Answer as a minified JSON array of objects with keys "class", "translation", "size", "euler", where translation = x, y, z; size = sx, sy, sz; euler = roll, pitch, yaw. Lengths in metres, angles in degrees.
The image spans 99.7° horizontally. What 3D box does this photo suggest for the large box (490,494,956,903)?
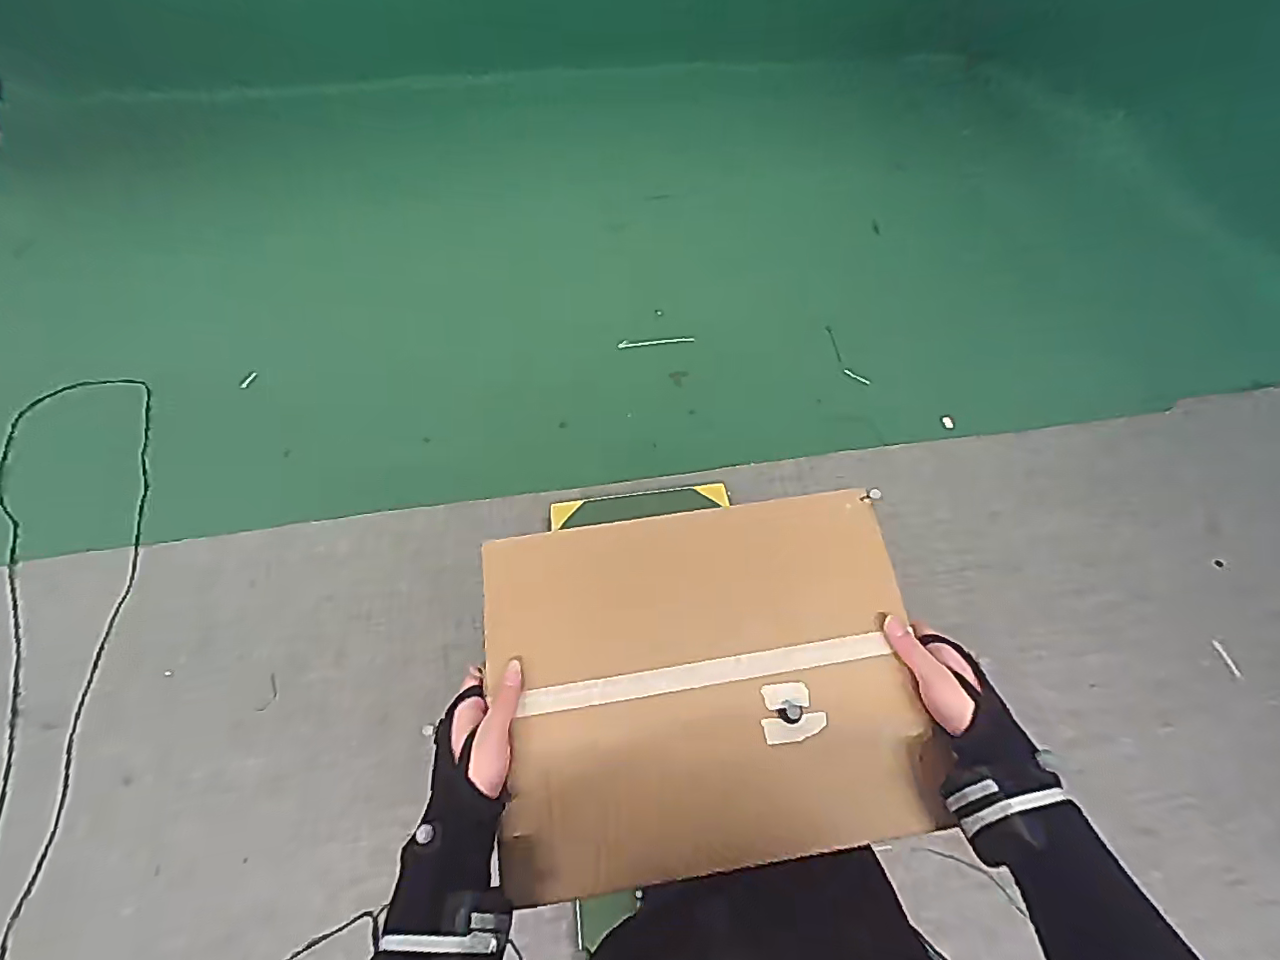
[{"class":"large box","translation":[0.060,0.240,0.657],"size":[0.408,0.320,0.320],"euler":[-8,69,-5]}]
